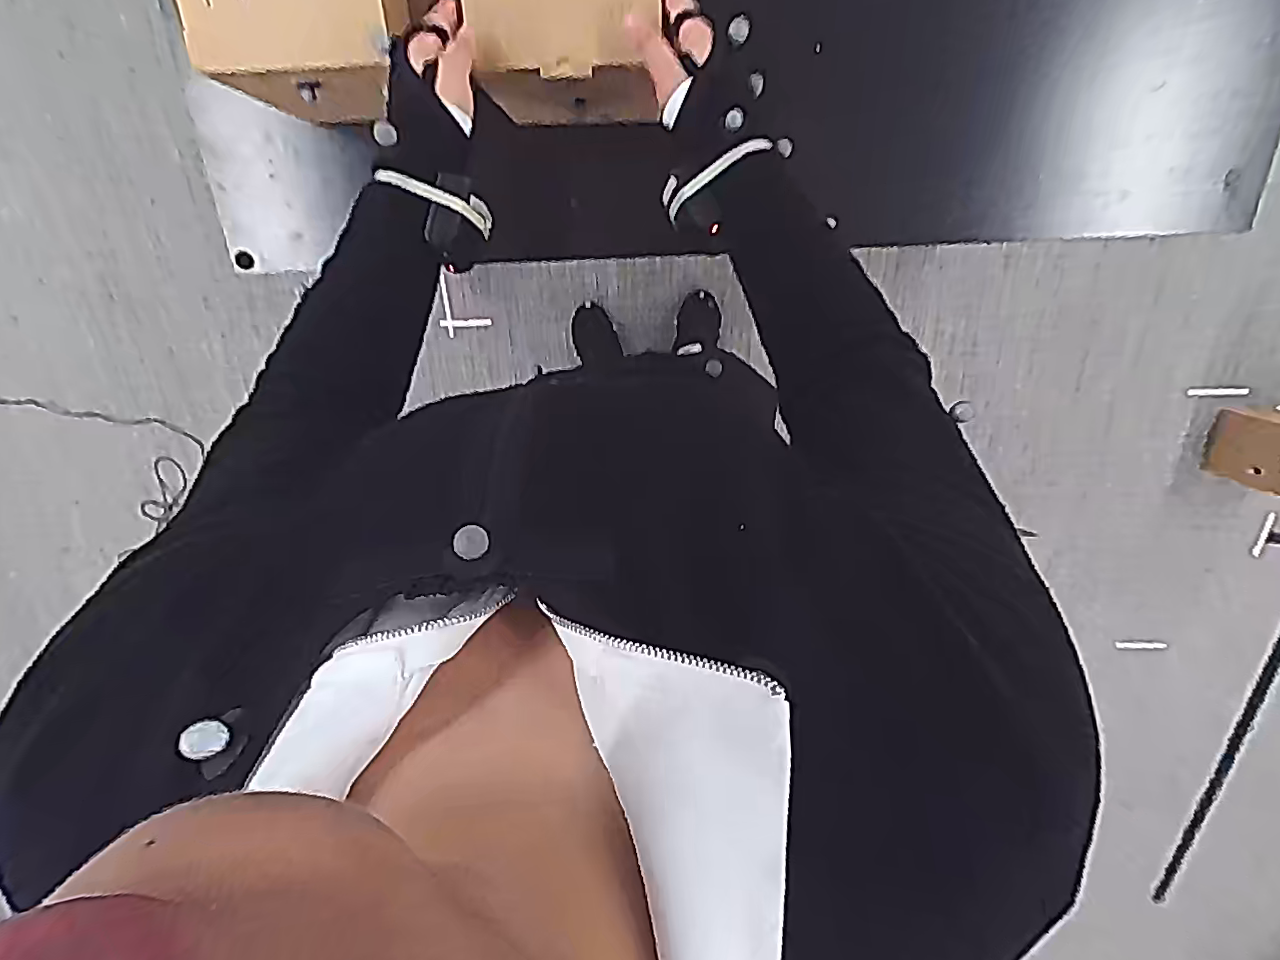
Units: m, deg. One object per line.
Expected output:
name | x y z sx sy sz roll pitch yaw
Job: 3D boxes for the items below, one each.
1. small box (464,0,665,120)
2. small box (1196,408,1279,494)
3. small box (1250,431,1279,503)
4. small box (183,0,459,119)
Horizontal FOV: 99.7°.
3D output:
small box | -0.061 -0.454 0.506 0.168 0.176 0.179 1 112 2
small box | 1.594 -0.076 1.380 0.168 0.176 0.179 -2 111 3
small box | 1.584 -0.020 1.228 0.179 0.176 0.168 -1 110 4
small box | -0.293 -0.457 0.510 0.179 0.176 0.168 -1 111 1
